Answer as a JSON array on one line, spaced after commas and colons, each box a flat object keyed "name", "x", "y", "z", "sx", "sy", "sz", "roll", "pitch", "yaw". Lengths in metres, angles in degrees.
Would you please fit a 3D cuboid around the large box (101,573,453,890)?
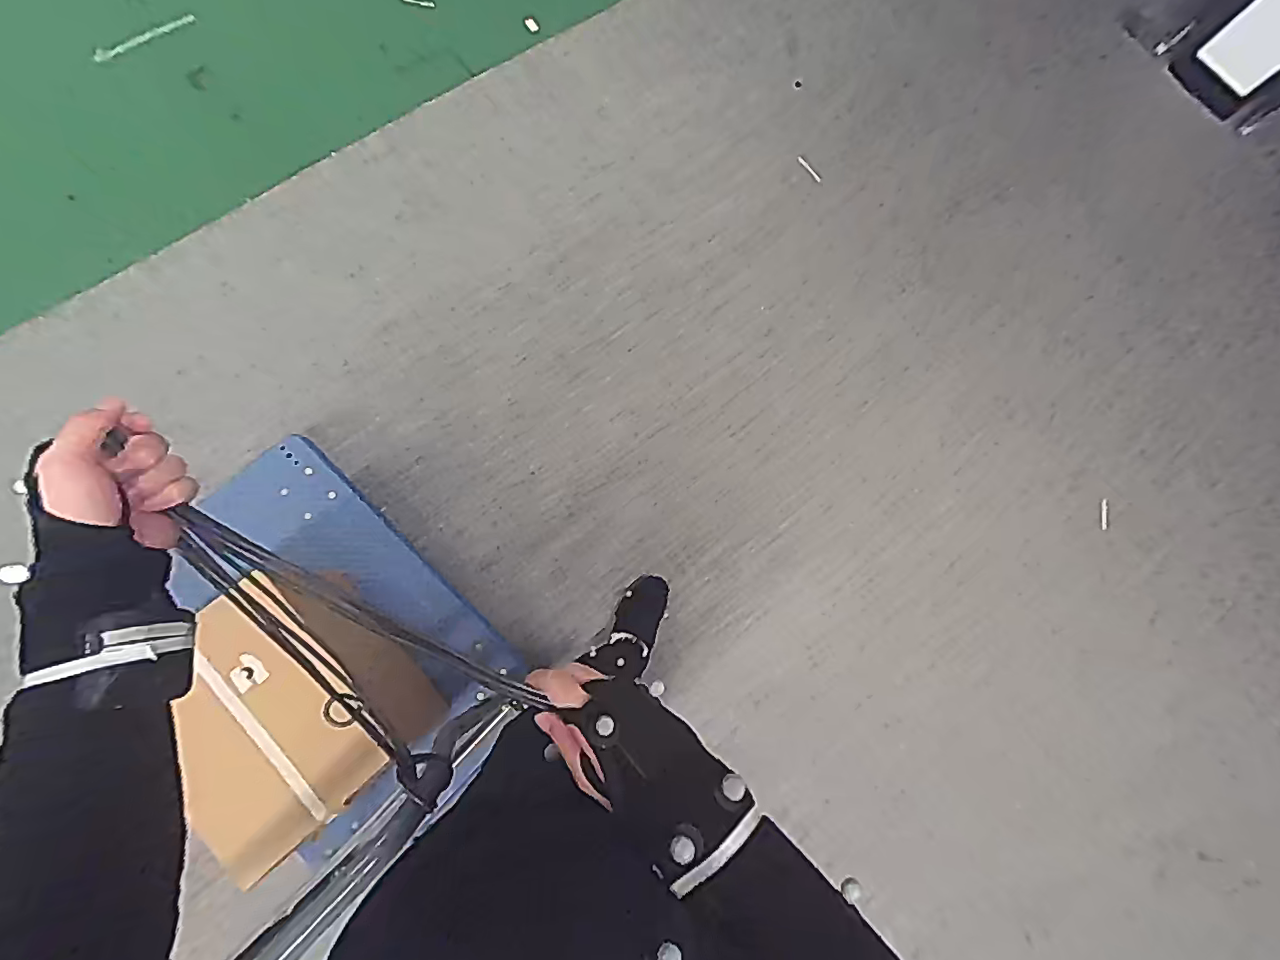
[{"name": "large box", "x": -0.636, "y": 0.429, "z": 1.028, "sx": 0.320, "sy": 0.320, "sz": 0.408, "roll": -42, "pitch": 84, "yaw": -12}]
